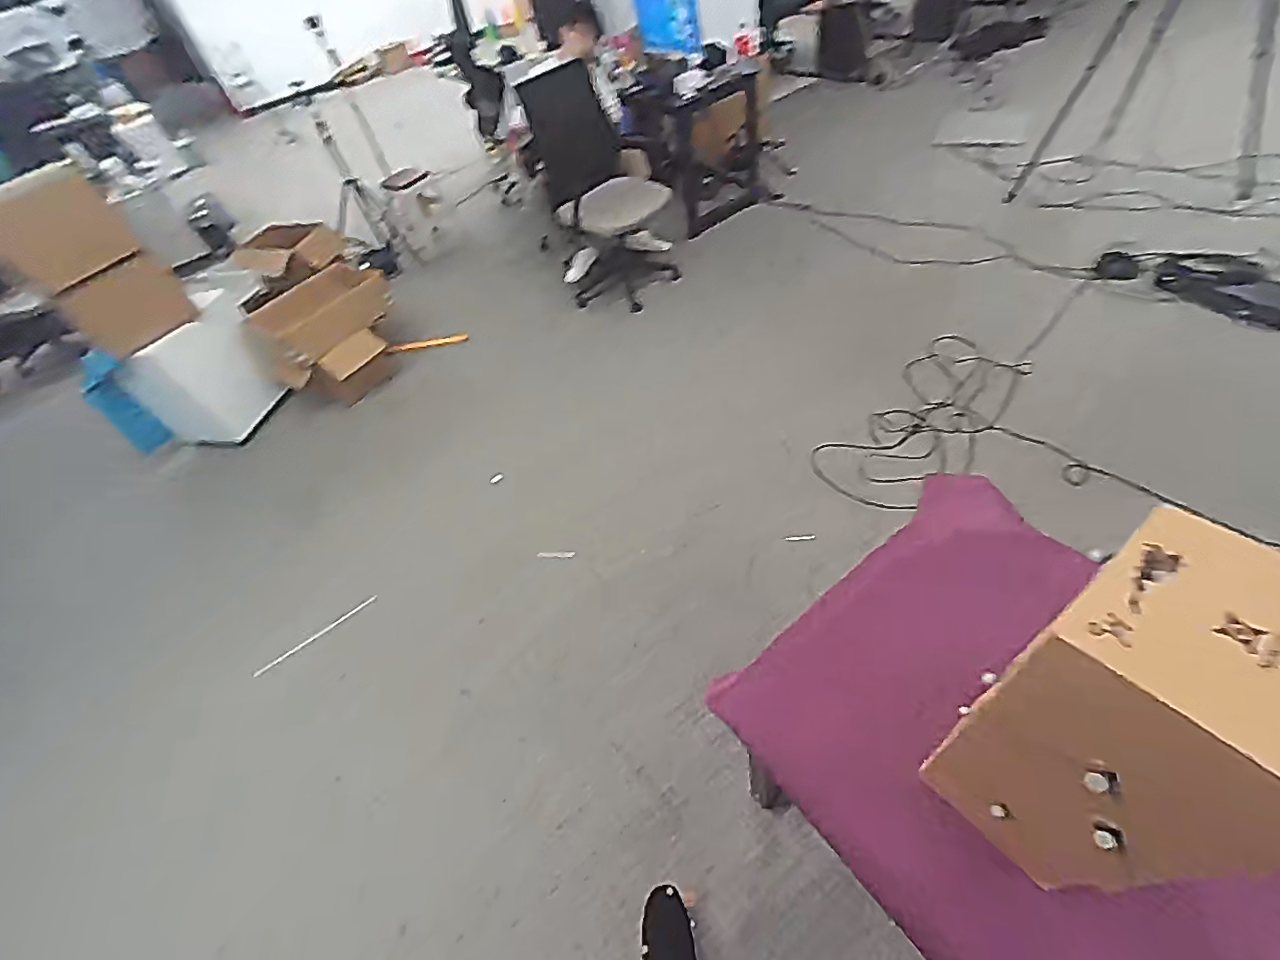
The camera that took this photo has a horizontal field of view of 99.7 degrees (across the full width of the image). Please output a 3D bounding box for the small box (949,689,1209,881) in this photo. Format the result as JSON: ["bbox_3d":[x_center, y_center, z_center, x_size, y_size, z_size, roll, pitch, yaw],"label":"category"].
[{"bbox_3d":[0.455,0.264,0.546,0.168,0.176,0.179,-35,50,-16],"label":"small box"}]

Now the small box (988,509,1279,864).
[{"bbox_3d":[0.422,0.163,0.422,0.168,0.176,0.179,-35,52,-16],"label":"small box"}]

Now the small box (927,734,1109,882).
[{"bbox_3d":[0.497,0.360,0.675,0.168,0.176,0.179,-36,51,-16],"label":"small box"}]
